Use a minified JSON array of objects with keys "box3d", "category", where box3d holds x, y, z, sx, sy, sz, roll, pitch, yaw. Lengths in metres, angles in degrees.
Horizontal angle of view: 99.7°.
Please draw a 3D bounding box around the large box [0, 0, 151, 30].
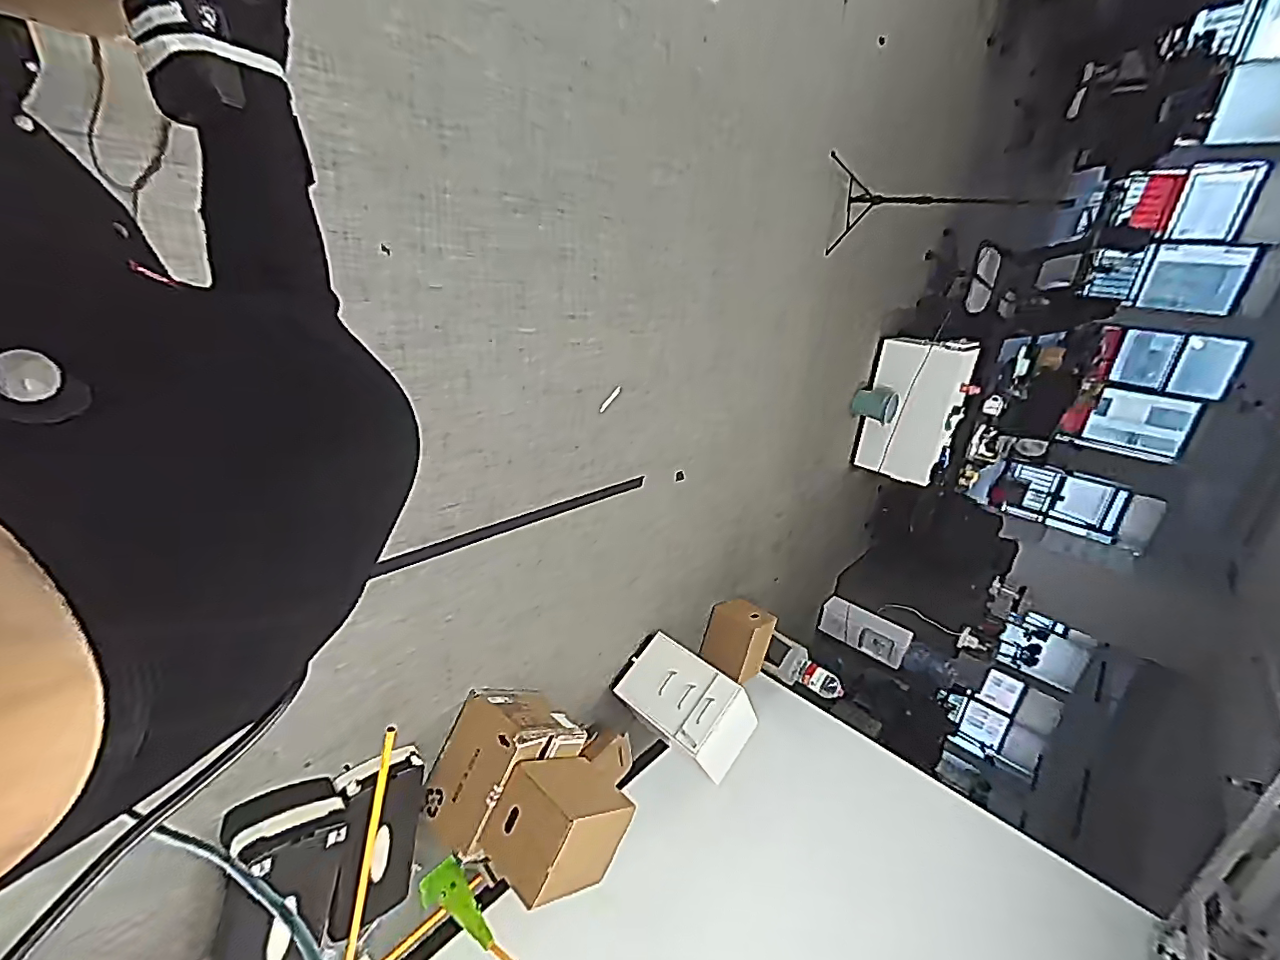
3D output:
[{"box3d":[-0.538,-0.484,0.257,0.408,0.320,0.320,-20,127,-46],"category":"large box"}]
